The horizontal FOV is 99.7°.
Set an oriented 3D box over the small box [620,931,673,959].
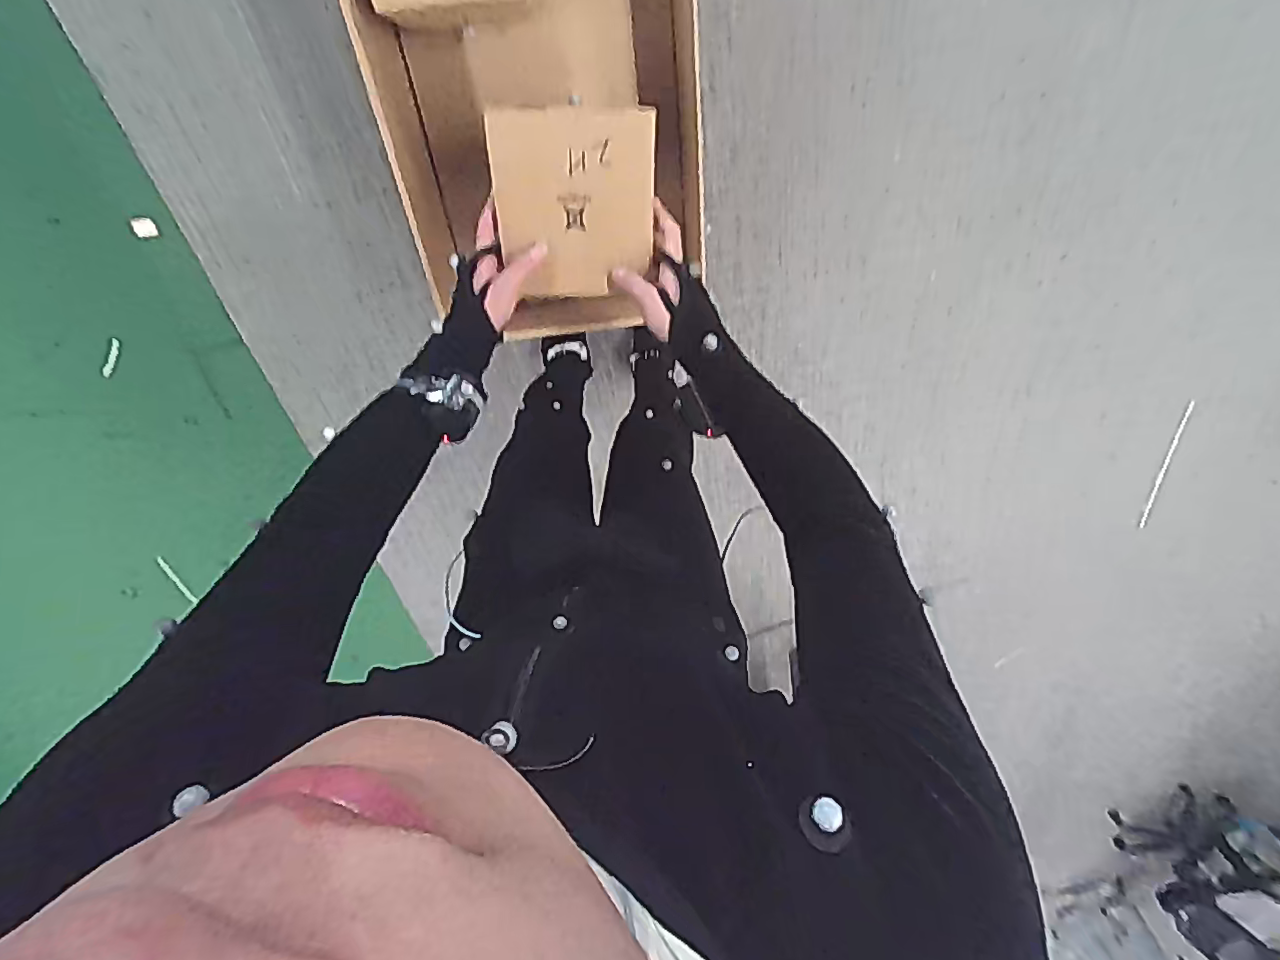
[{"bbox_3d":[0.000,1.527,1.669,0.168,0.176,0.179,-23,122,11],"label":"small box"}]
